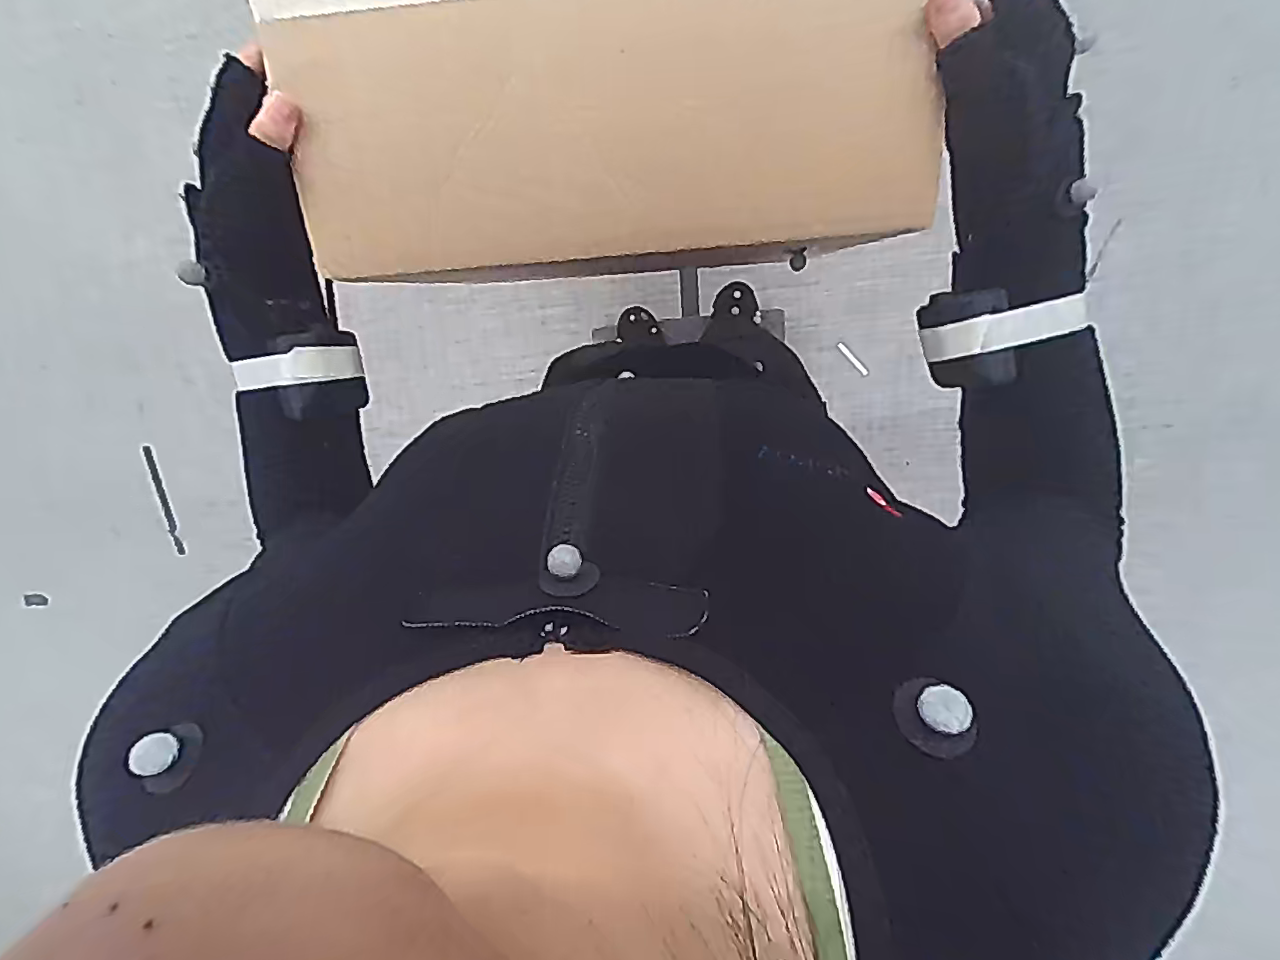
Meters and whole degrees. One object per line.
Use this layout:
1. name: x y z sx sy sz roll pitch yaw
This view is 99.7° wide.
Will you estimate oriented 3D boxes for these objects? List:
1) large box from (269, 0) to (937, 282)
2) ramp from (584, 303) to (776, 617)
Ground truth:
1. large box: -0.019 -0.347 0.455 0.408 0.320 0.320 -3 109 4
2. ramp: 0.154 0.012 1.597 0.509 0.206 0.991 -6 107 6
